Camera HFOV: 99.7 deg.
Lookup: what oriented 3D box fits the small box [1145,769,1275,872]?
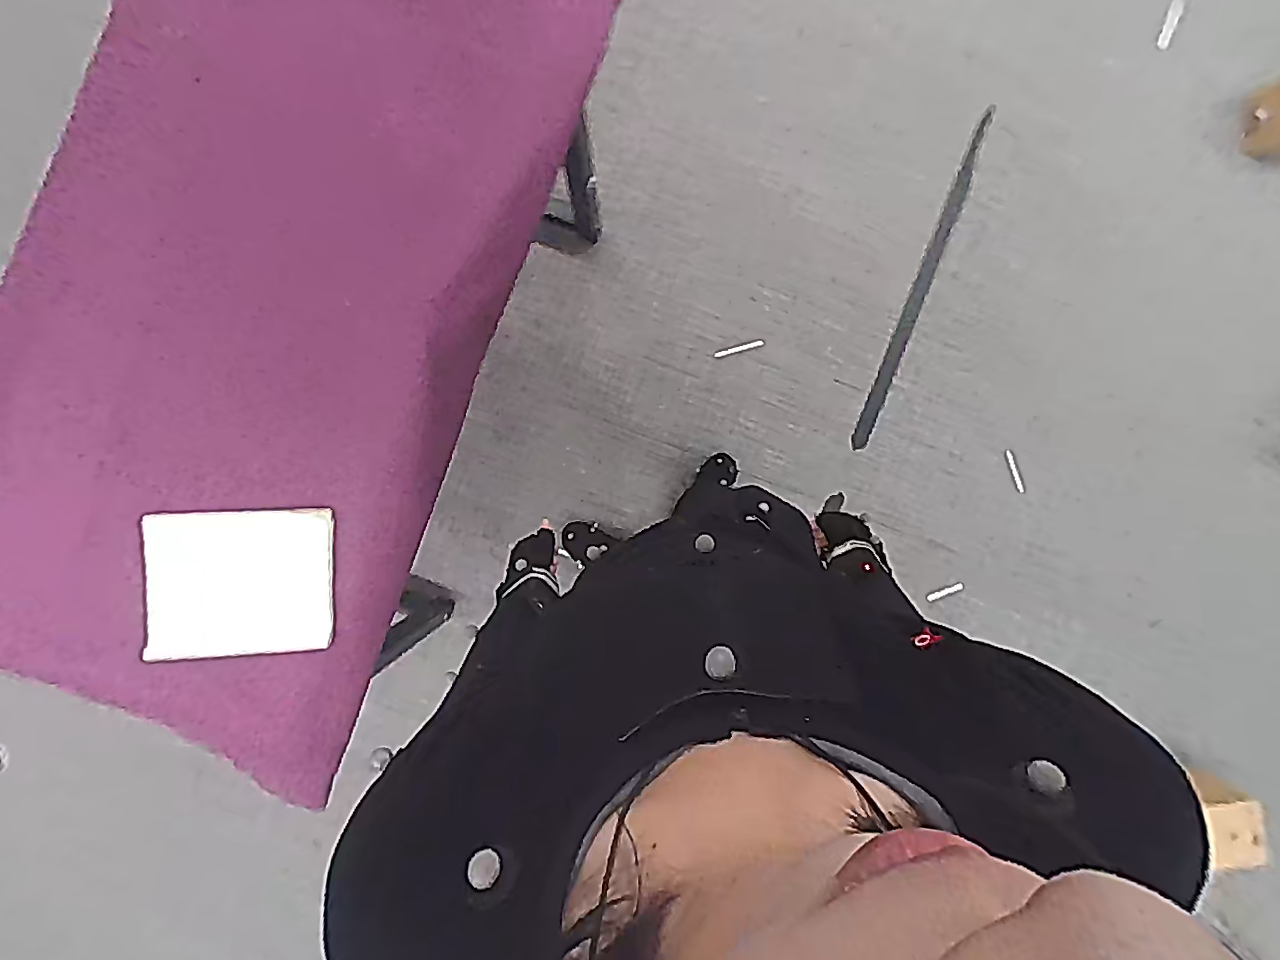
[{"bbox_3d":[1.506,0.903,1.445,0.179,0.176,0.168,-7,89,0],"label":"small box"}]

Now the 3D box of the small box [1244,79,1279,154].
[{"bbox_3d":[1.813,-1.012,1.461,0.179,0.176,0.168,-2,89,0],"label":"small box"}]
